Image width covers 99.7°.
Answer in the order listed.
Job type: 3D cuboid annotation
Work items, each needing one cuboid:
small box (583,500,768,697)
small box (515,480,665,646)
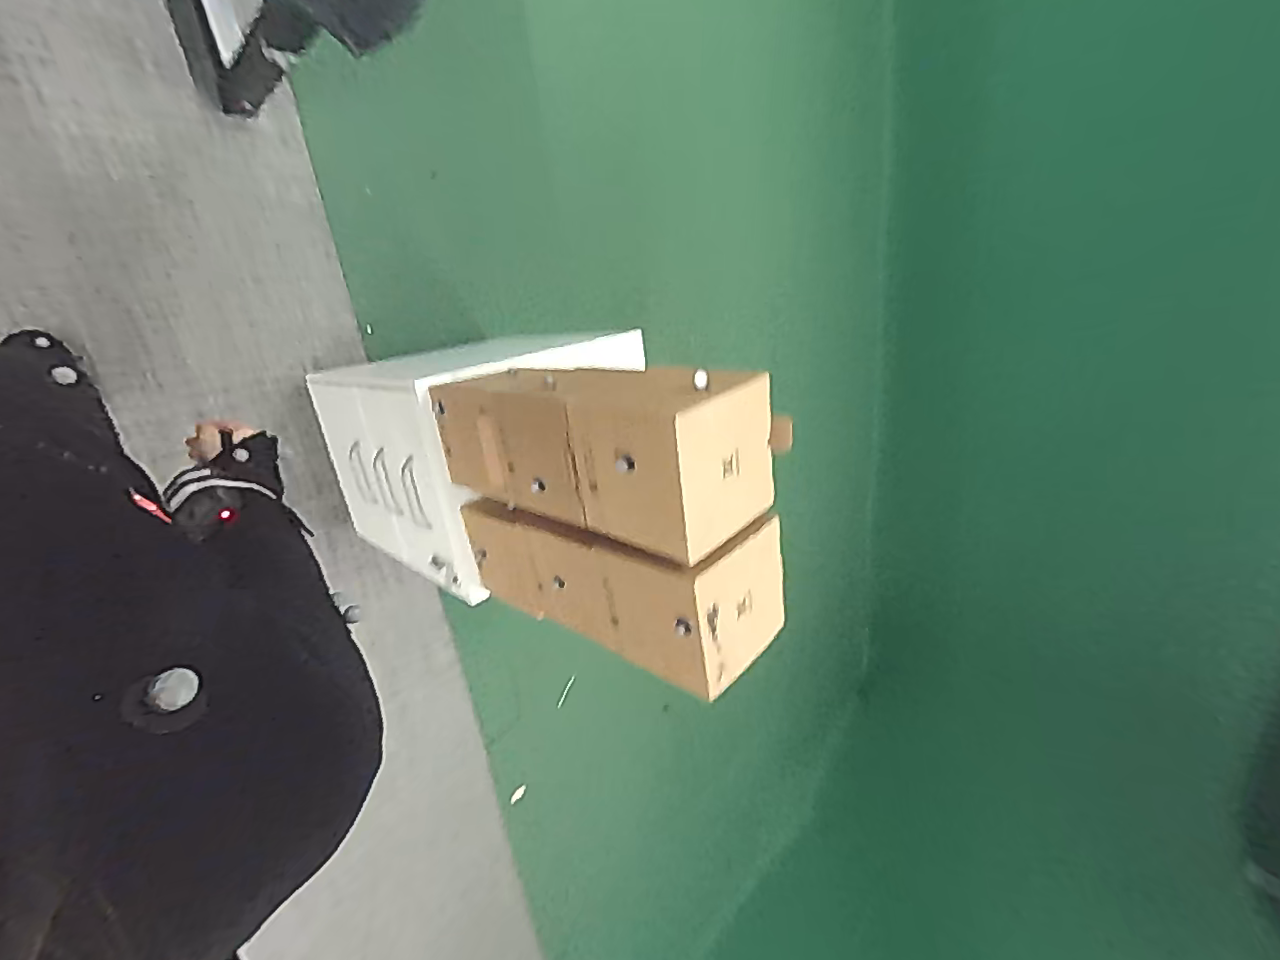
[{"bbox_3d":[0.051,0.138,0.710,0.179,0.176,0.168,-28,119,-42],"label":"small box"},{"bbox_3d":[-0.069,0.113,0.818,0.179,0.176,0.168,-30,120,-40],"label":"small box"}]
